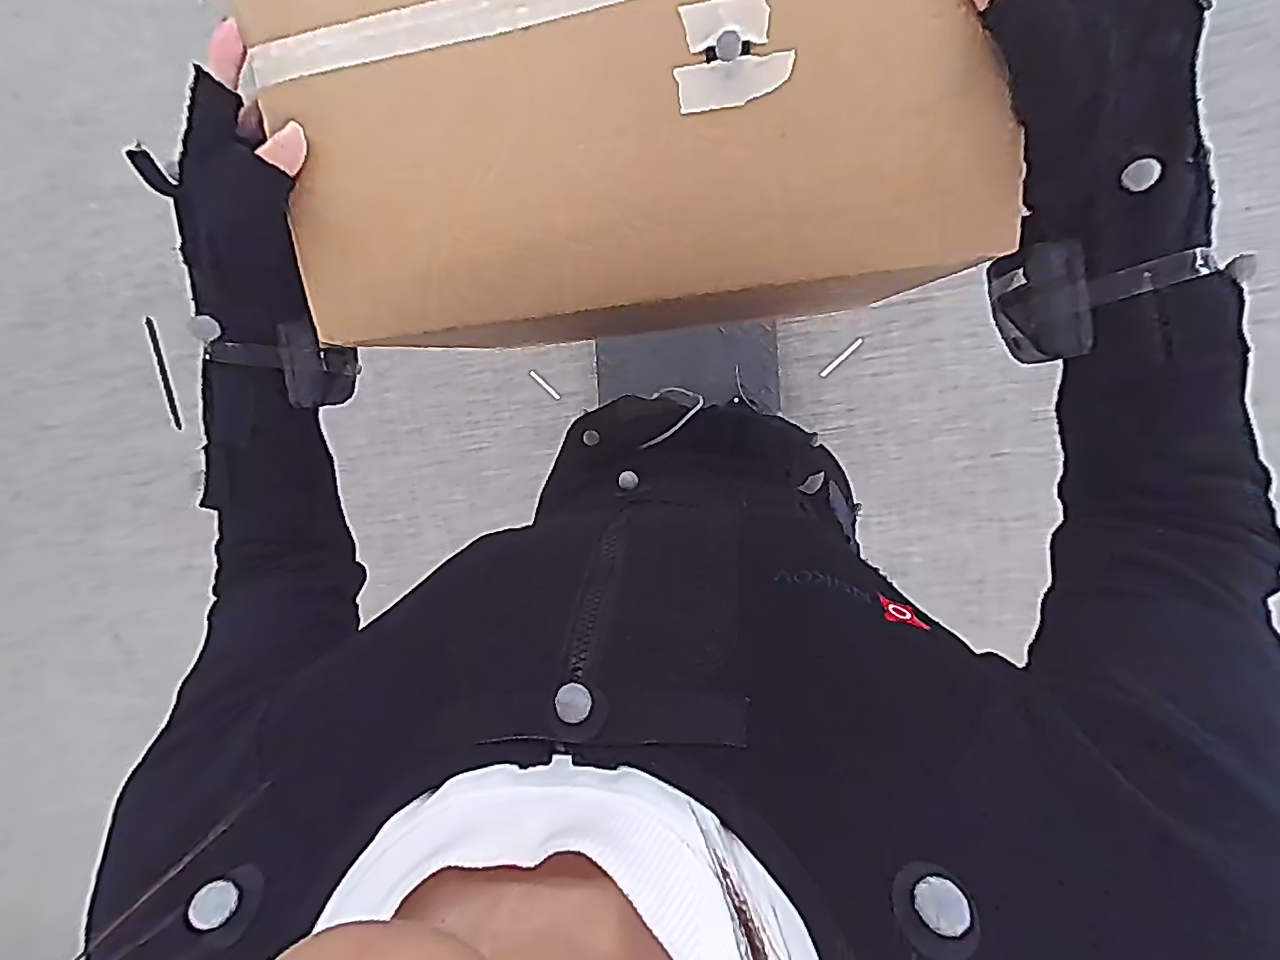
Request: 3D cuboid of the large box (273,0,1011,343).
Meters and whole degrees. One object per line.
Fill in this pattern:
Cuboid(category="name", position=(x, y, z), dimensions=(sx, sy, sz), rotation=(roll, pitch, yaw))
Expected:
Cuboid(category="large box", position=(0.004, -0.295, 0.434), dimensions=(0.408, 0.320, 0.320), rotation=(-5, 103, 10))
